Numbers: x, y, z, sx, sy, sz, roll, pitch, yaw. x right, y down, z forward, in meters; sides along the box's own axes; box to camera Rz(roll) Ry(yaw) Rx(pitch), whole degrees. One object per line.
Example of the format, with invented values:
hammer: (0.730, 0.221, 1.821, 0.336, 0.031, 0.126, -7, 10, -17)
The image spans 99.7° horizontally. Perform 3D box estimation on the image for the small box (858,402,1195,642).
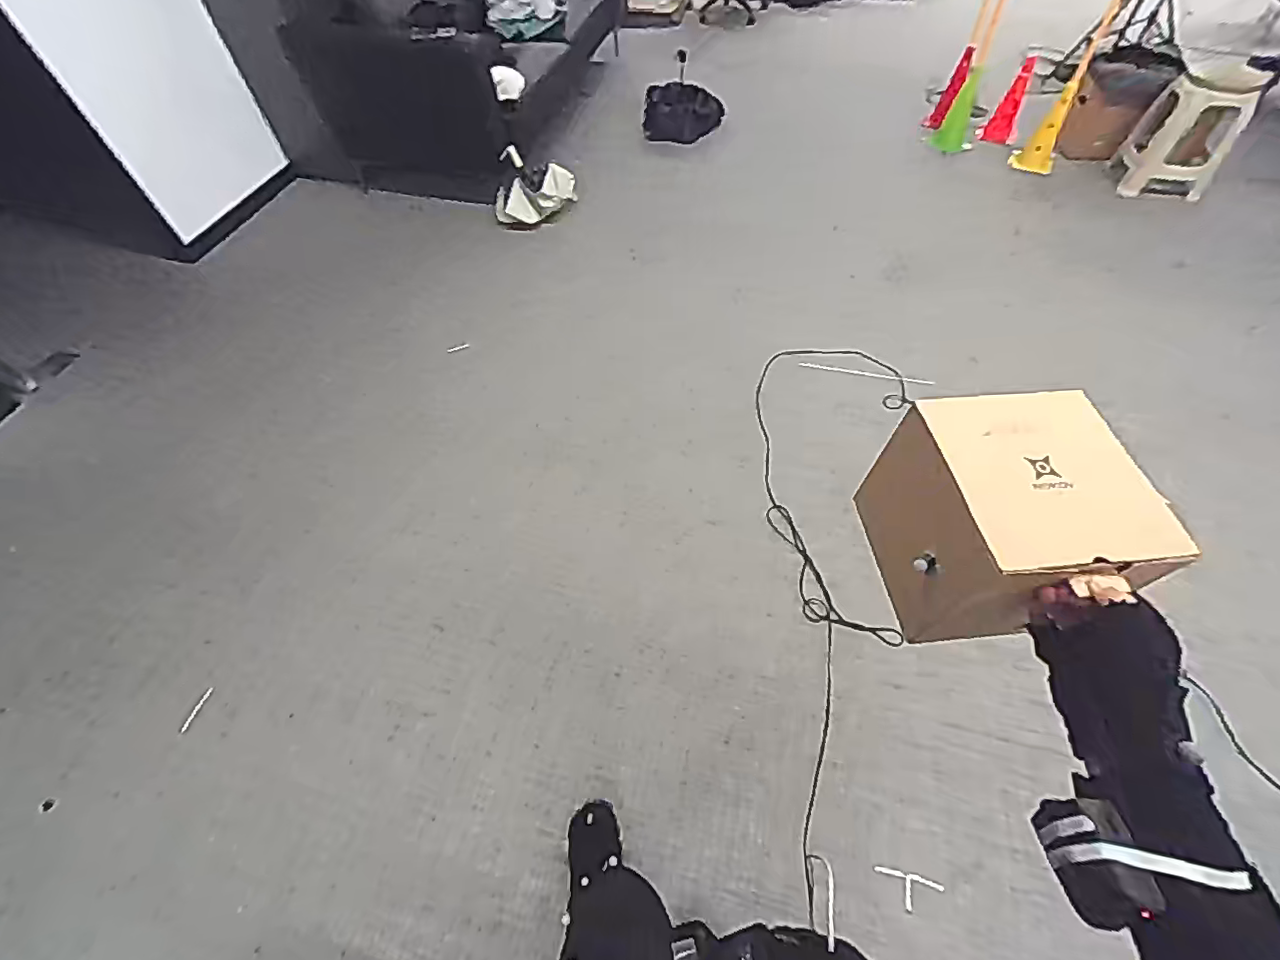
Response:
small box: (0.337, 0.048, 0.520, 0.168, 0.176, 0.179, -3, 56, -3)
